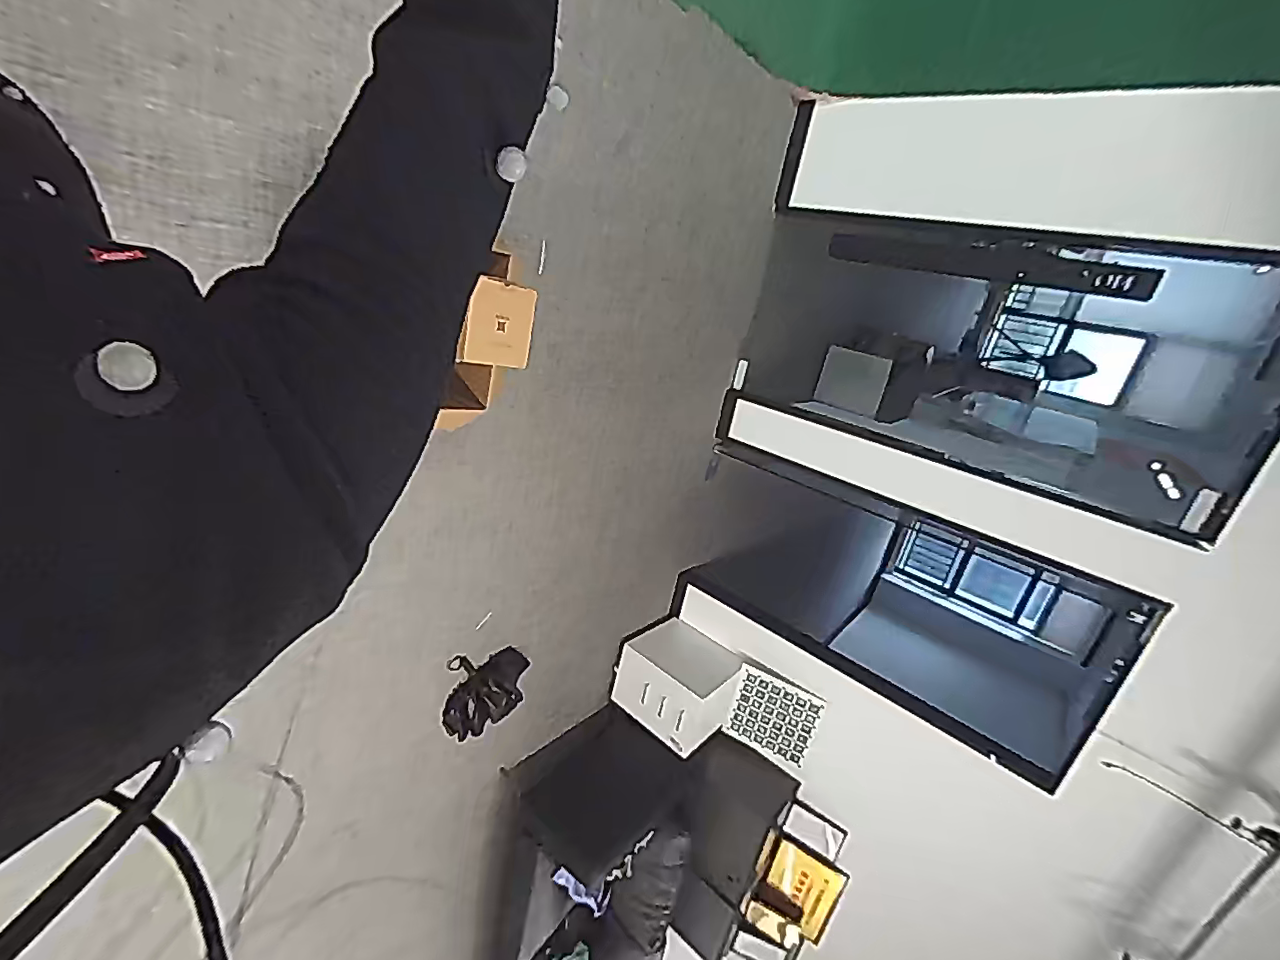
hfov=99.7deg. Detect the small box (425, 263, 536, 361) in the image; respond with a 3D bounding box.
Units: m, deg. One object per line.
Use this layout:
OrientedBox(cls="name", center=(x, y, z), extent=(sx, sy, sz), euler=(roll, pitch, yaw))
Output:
OrientedBox(cls="small box", center=(-0.358, -0.373, 1.201), extent=(0.168, 0.176, 0.179), euler=(-9, 116, -51))
